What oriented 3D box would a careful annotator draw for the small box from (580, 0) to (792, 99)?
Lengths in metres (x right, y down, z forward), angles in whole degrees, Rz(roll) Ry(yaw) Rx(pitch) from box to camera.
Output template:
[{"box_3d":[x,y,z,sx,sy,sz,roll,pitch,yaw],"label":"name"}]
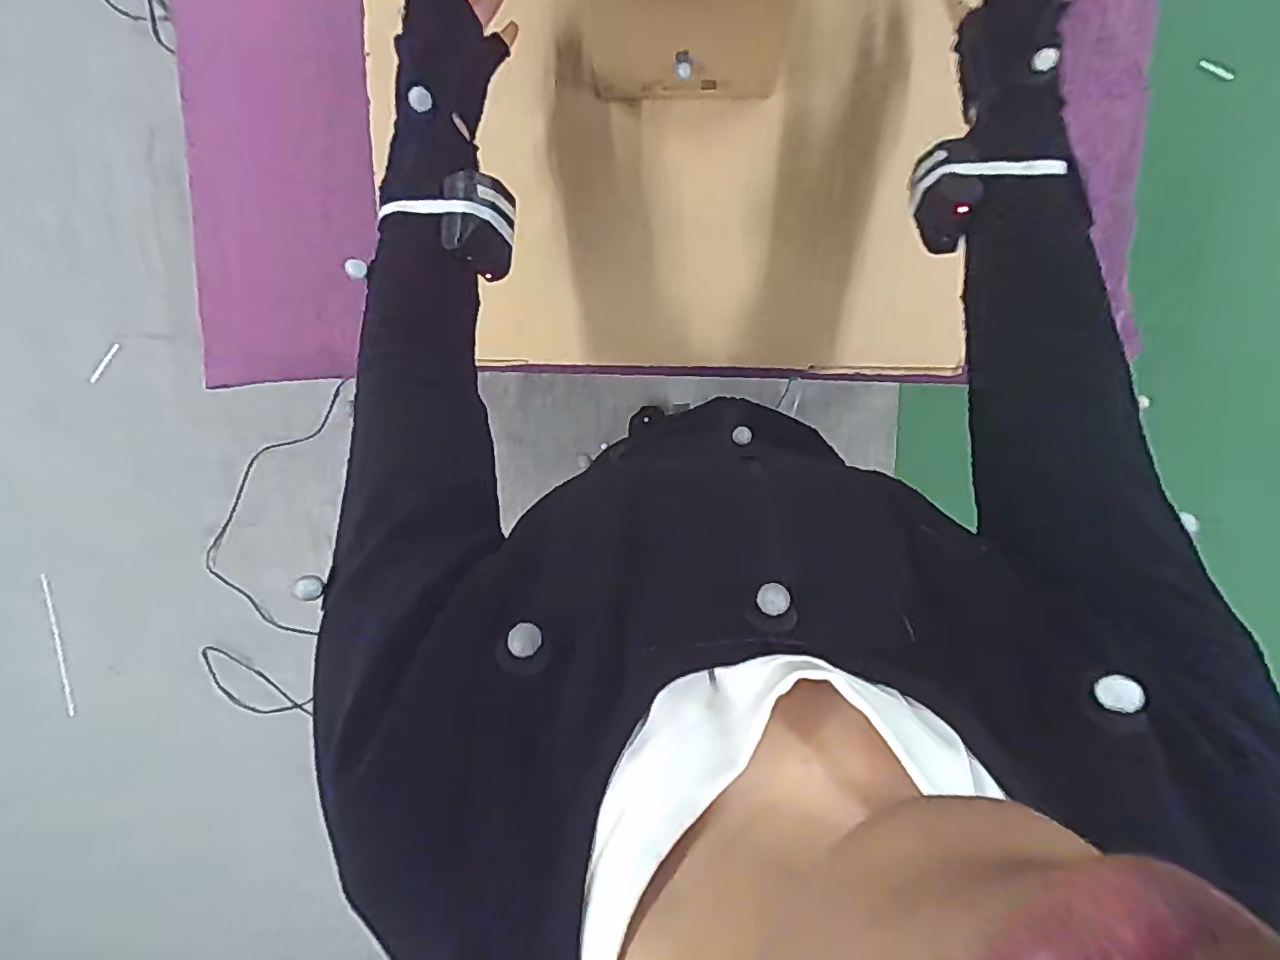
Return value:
[{"box_3d":[0.036,-0.444,0.428,0.168,0.176,0.179,2,97,4],"label":"small box"}]
